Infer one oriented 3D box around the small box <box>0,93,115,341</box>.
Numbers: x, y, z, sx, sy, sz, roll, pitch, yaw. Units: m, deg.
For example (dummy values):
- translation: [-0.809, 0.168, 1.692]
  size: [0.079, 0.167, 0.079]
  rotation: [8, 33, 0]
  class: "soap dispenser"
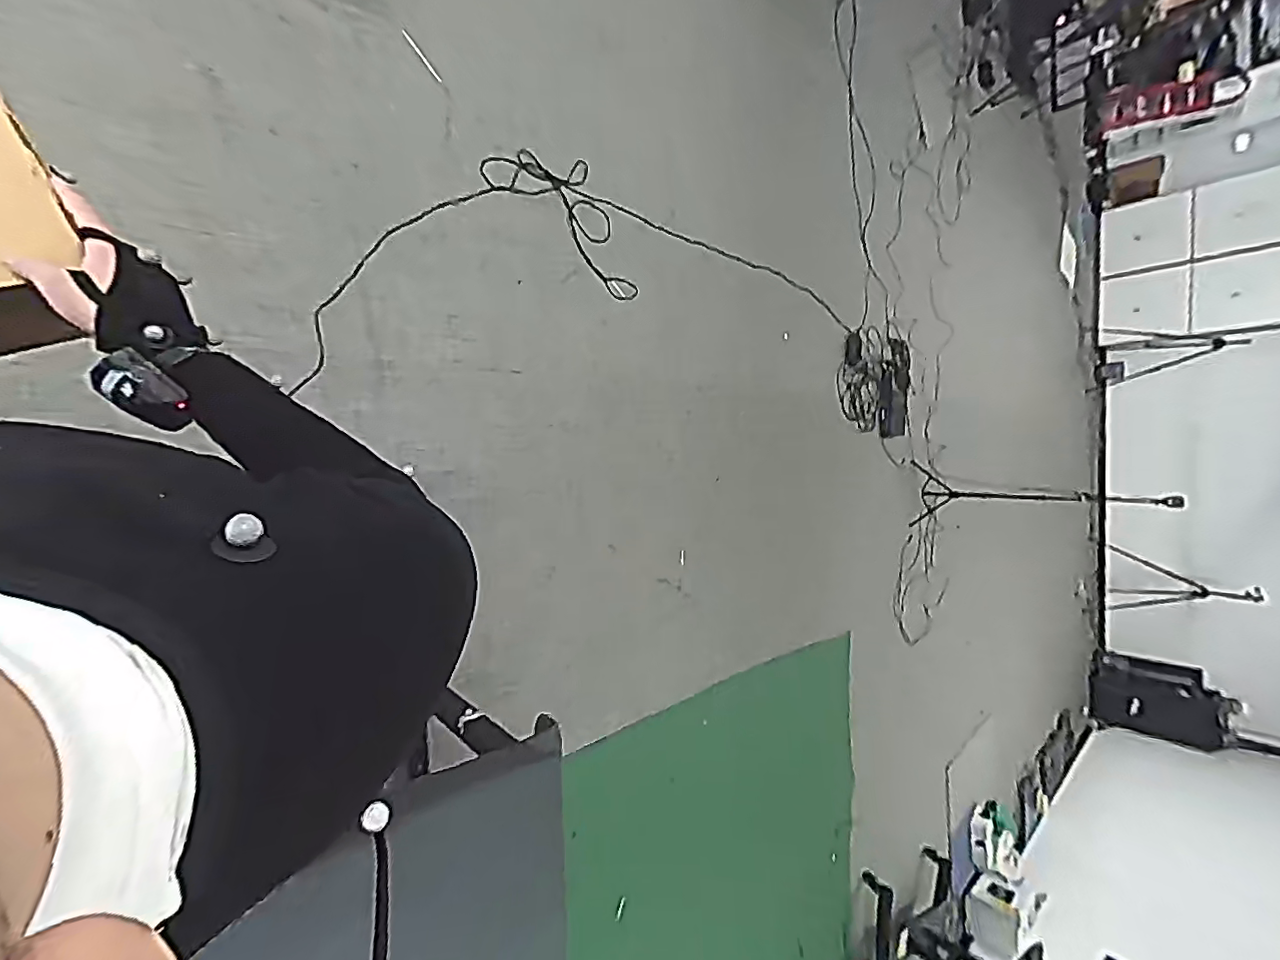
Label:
- translation: [-0.606, -0.224, 0.464]
  size: [0.179, 0.176, 0.168]
  rotation: [-27, 100, -29]
  class: "small box"
